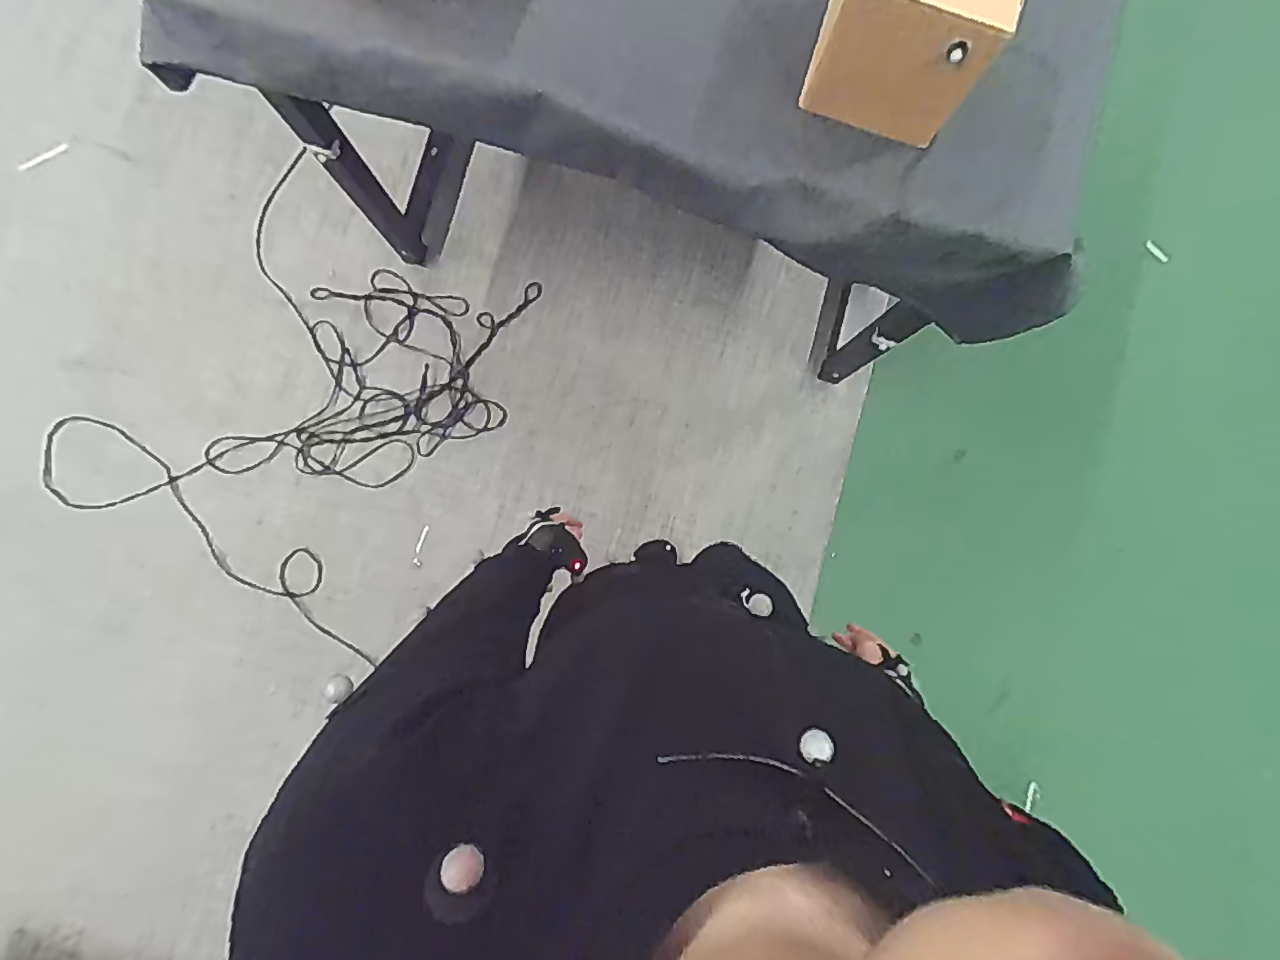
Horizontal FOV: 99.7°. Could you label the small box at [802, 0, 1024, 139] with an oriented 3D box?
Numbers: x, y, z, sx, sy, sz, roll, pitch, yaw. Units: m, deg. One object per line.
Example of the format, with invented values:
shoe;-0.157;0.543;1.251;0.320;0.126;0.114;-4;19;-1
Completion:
small box;0.307;-0.534;0.616;0.179;0.176;0.168;18;85;-1
